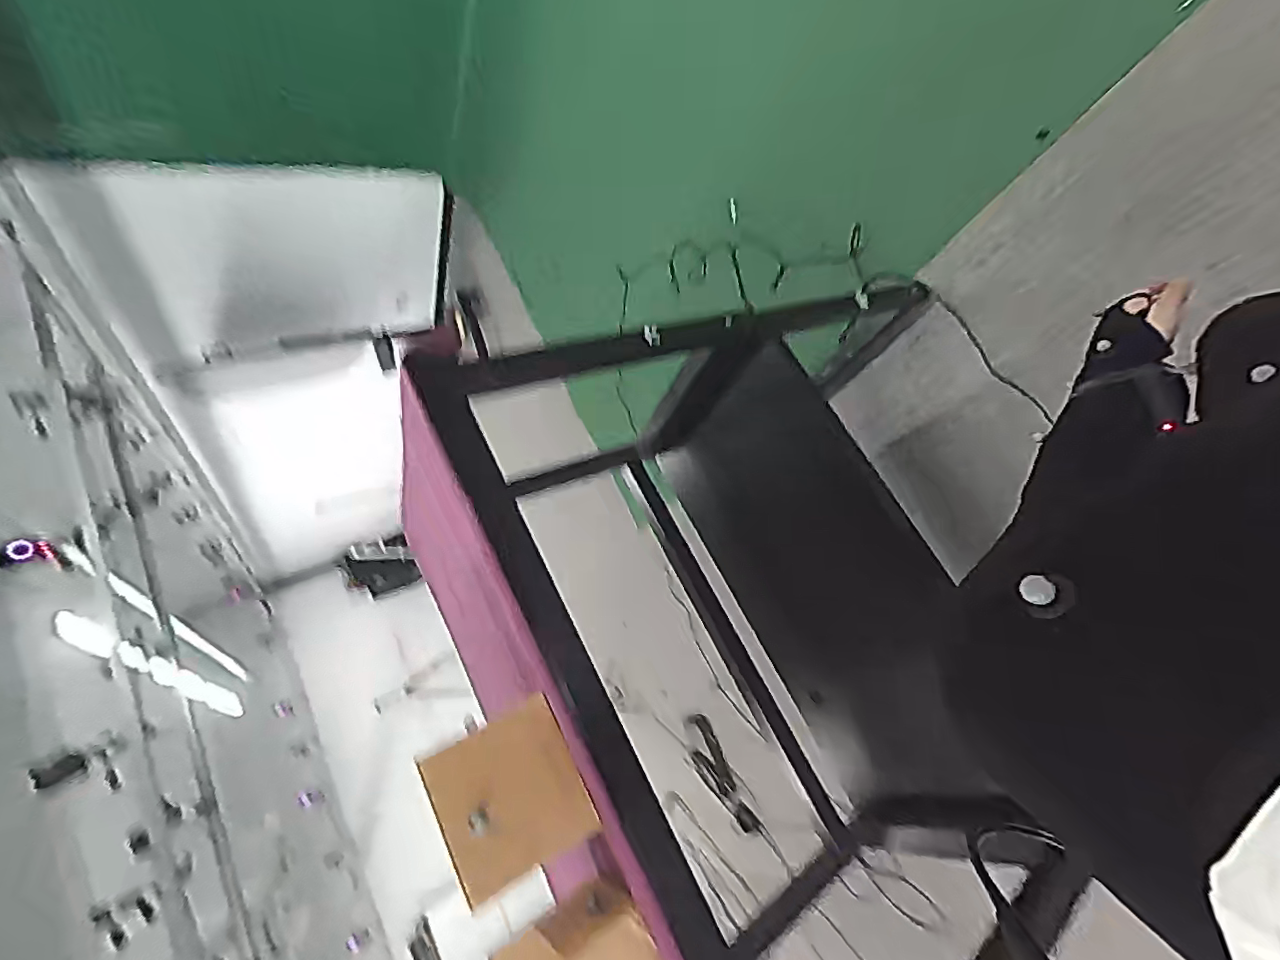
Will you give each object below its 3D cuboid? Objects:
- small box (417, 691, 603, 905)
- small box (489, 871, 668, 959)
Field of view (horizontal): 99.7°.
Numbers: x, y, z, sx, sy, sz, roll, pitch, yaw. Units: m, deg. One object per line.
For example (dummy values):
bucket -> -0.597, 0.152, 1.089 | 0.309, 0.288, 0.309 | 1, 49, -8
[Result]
small box -> -0.175, 0.395, 0.706 | 0.179, 0.176, 0.168 | 60, 148, 16
small box -> -0.056, 0.612, 0.632 | 0.179, 0.176, 0.168 | 64, 149, 13
